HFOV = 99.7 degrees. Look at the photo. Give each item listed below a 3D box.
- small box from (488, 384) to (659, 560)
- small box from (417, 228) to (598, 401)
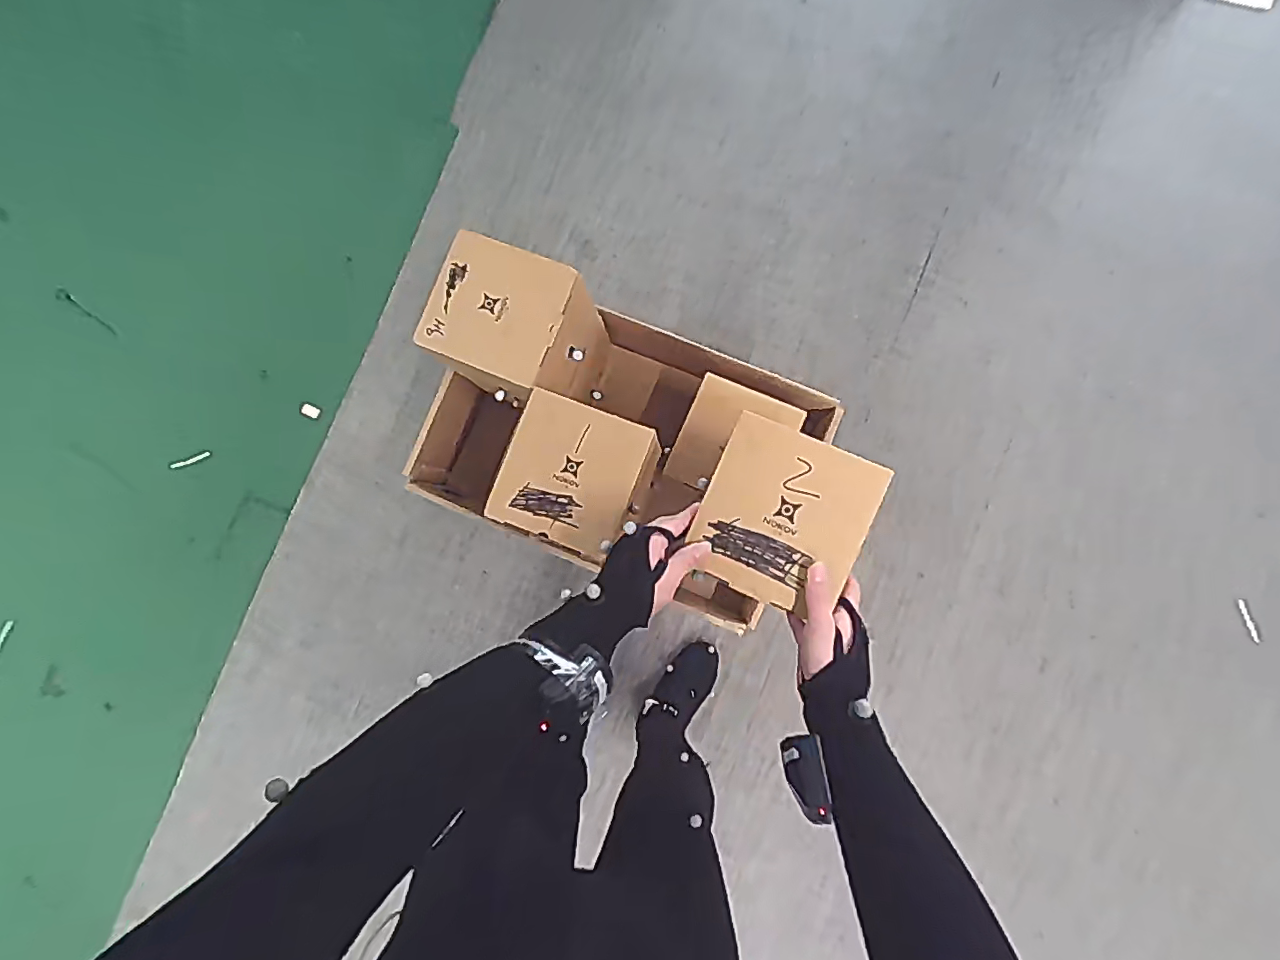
[{"bbox_3d":[-0.077,-0.004,0.742,0.168,0.176,0.179,21,86,6],"label":"small box"},{"bbox_3d":[-0.173,-0.215,0.770,0.179,0.176,0.168,23,88,5],"label":"small box"}]
